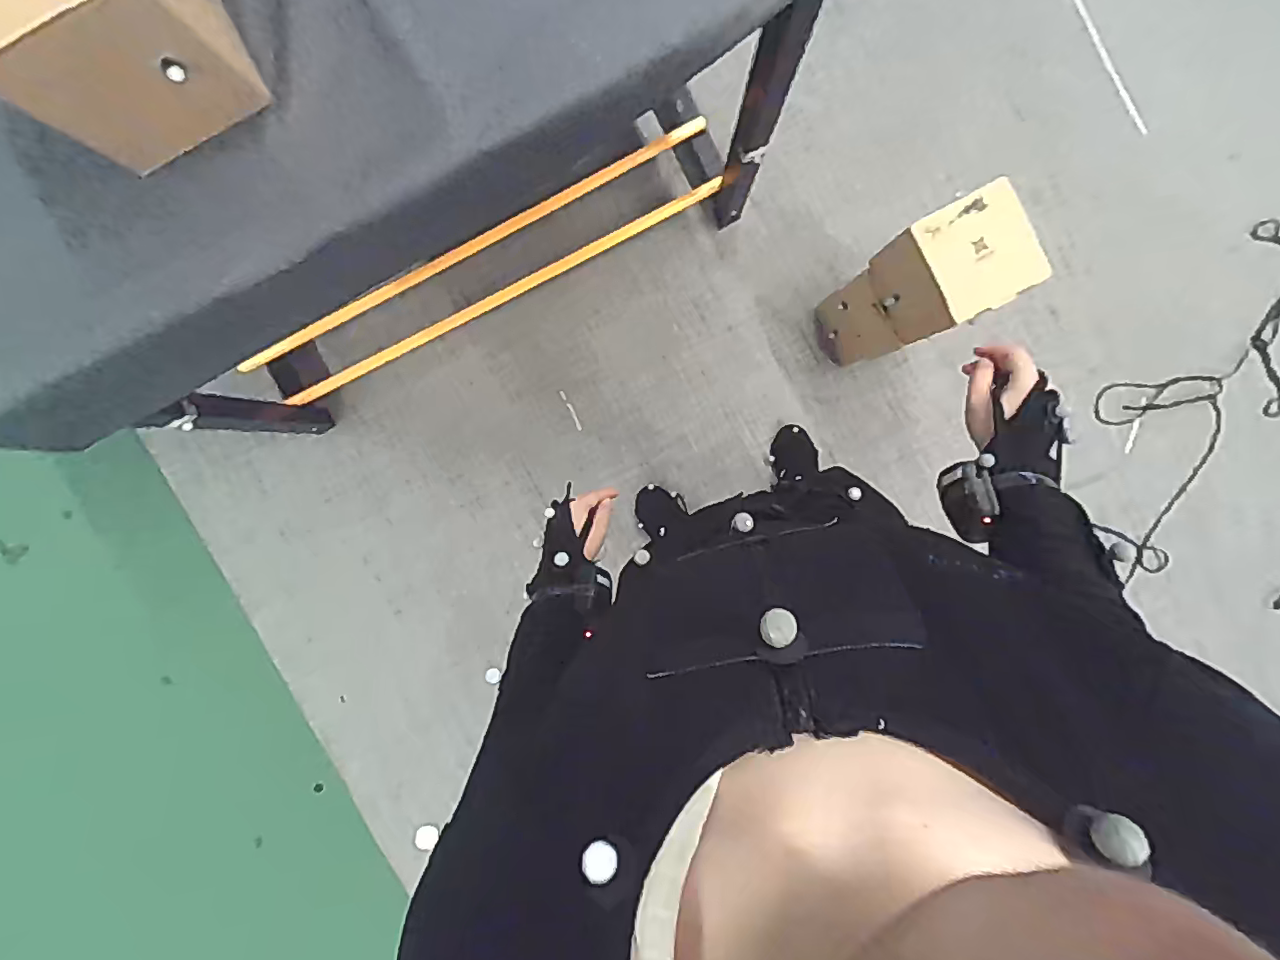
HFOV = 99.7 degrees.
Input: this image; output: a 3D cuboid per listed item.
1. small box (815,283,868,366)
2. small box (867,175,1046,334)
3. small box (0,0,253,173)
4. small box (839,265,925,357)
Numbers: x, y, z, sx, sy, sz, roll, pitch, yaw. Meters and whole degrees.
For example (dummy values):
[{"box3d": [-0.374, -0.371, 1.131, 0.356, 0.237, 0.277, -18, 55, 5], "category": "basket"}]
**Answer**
[{"box3d": [0.535, -0.382, 1.244, 0.179, 0.176, 0.168, -27, 92, 2], "category": "small box"}, {"box3d": [0.522, -0.363, 0.916, 0.168, 0.176, 0.179, -27, 94, 1], "category": "small box"}, {"box3d": [-0.528, -0.449, 0.526, 0.179, 0.176, 0.168, -29, 91, 2], "category": "small box"}, {"box3d": [0.524, -0.365, 1.081, 0.179, 0.176, 0.168, -29, 92, 1], "category": "small box"}]
